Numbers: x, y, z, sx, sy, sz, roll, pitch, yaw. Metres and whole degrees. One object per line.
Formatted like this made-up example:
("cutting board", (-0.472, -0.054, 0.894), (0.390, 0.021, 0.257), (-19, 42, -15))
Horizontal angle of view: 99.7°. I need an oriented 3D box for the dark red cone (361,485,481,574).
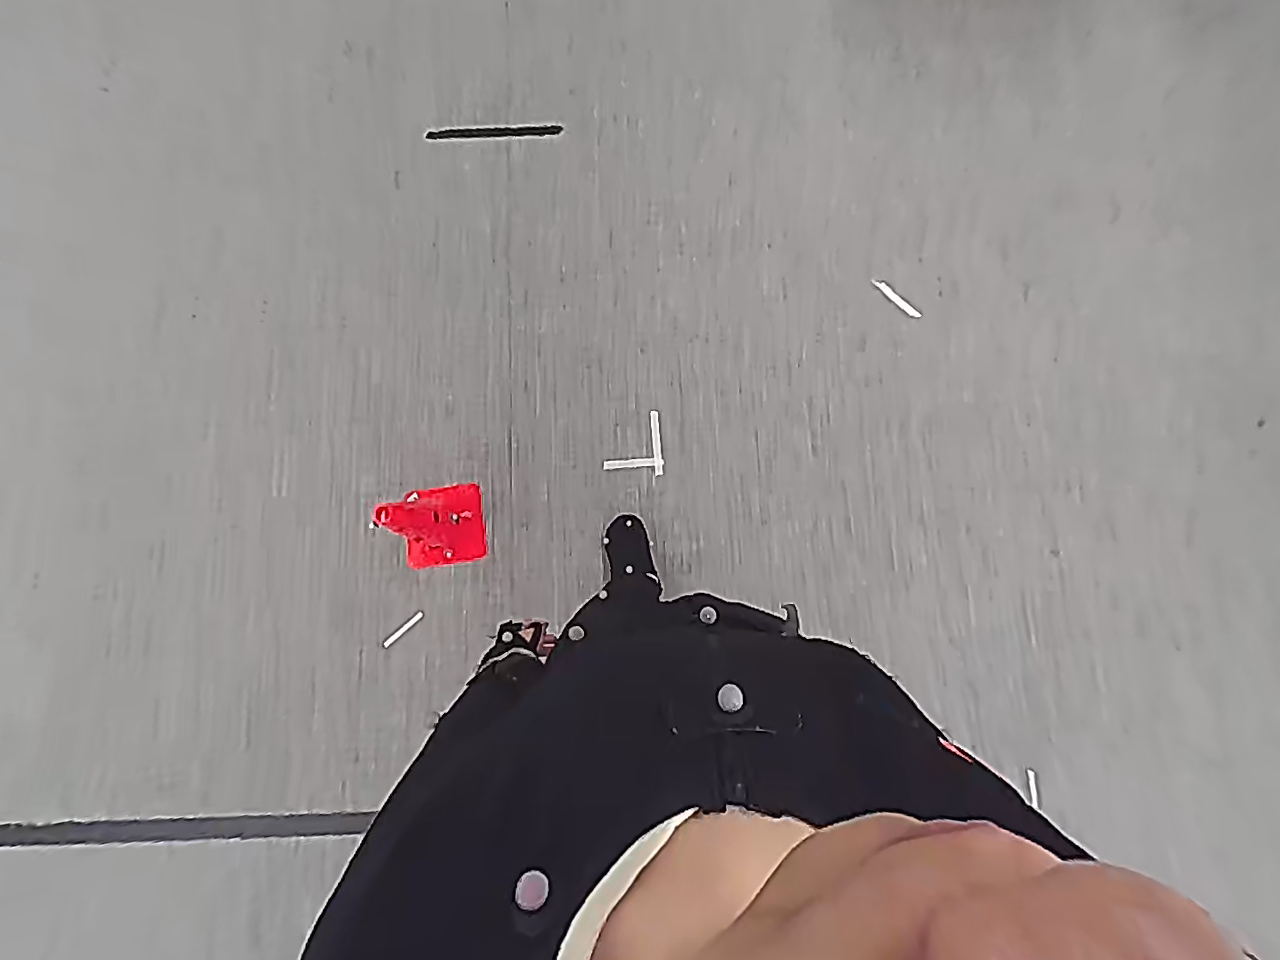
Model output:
("dark red cone", (-0.496, 0.099, 1.173), (0.202, 0.394, 0.201), (-9, 83, -2))
